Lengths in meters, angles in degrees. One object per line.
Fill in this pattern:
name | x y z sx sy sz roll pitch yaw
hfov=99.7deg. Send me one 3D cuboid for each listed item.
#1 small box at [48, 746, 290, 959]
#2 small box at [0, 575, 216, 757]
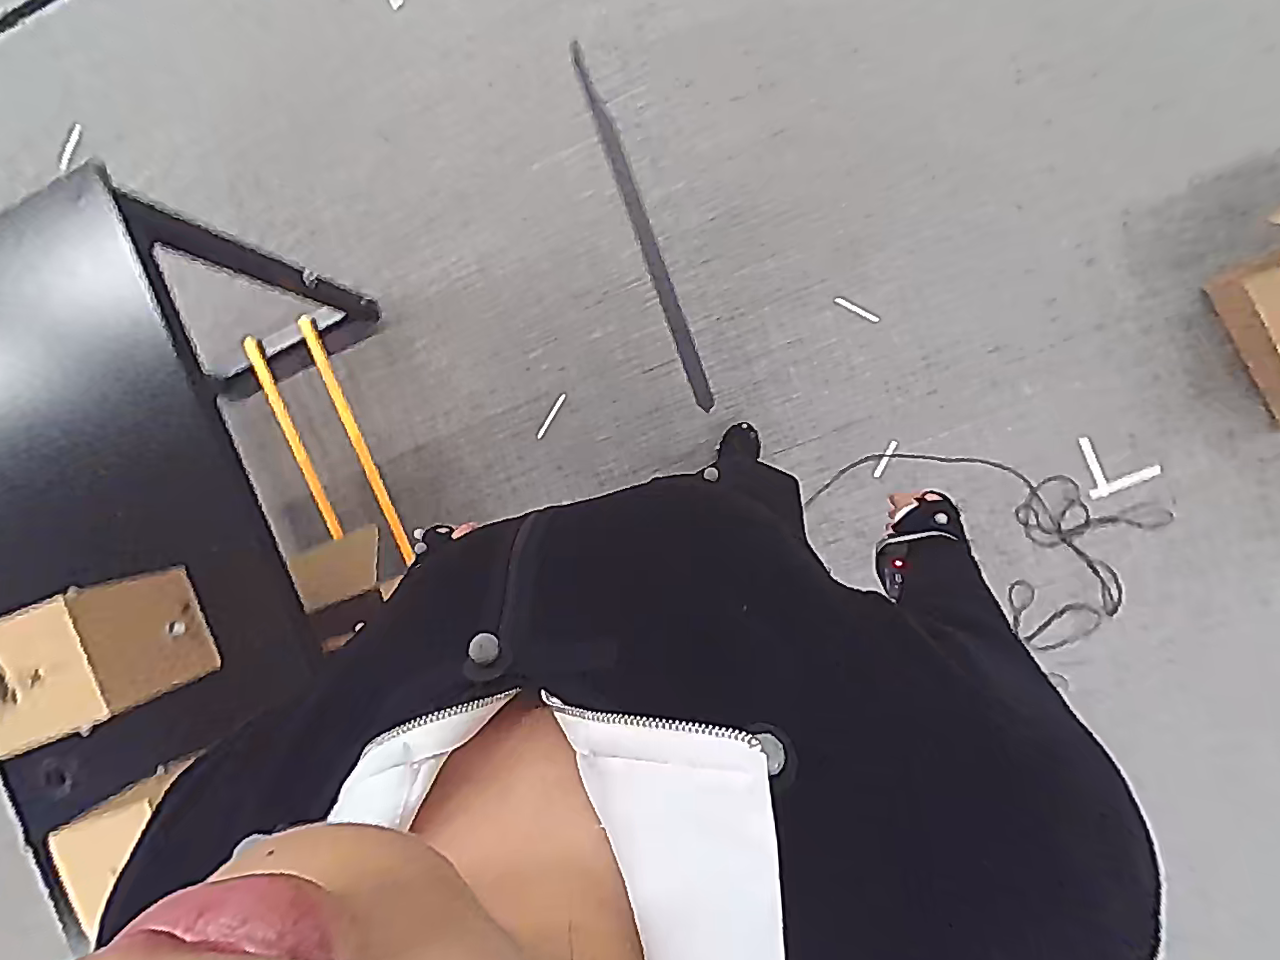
small box | -0.658 0.514 0.776 0.168 0.176 0.179 -23 91 7
small box | -0.773 0.253 0.774 0.179 0.176 0.168 -21 91 6
